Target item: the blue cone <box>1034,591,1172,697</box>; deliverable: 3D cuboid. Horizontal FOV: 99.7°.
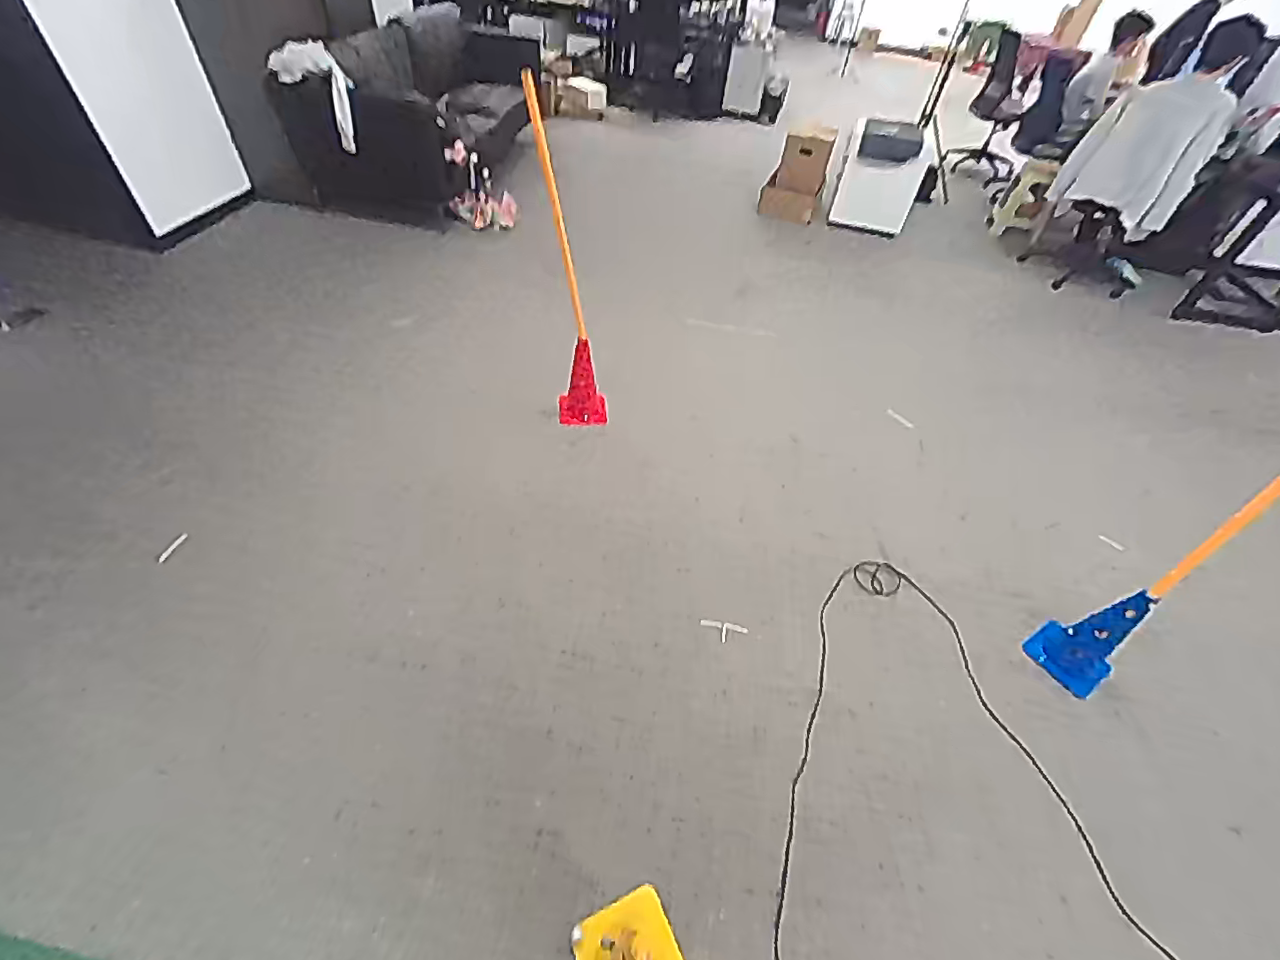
[{"bbox_3d":[1.348,0.431,1.548,0.193,0.380,0.192,-22,52,-27],"label":"blue cone"}]
